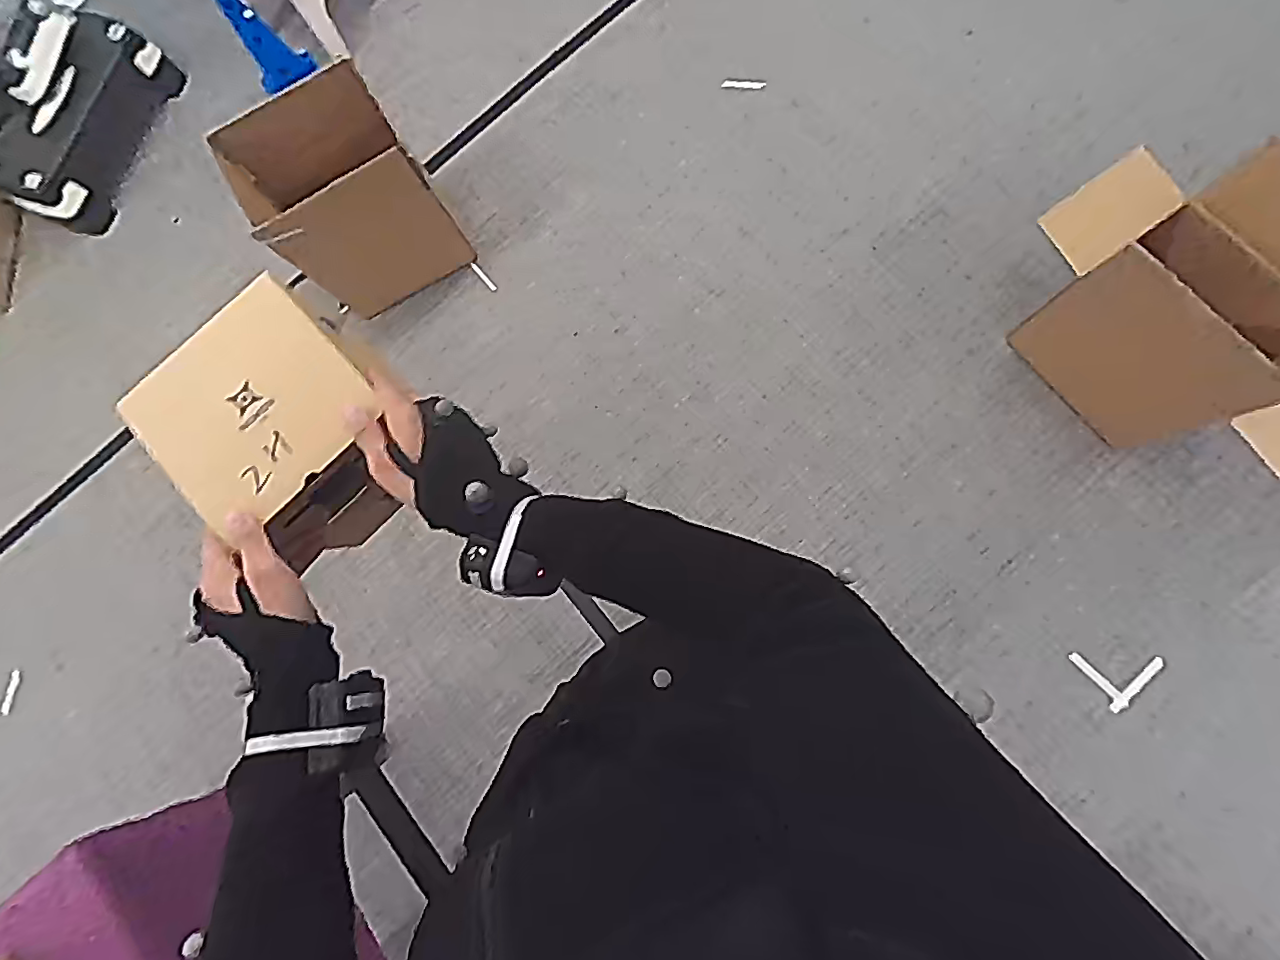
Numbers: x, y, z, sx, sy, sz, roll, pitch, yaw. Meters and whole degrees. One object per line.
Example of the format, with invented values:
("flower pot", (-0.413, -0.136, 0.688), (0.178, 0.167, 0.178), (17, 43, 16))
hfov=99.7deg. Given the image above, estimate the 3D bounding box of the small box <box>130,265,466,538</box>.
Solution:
("small box", (-0.303, -0.059, 0.522), (0.168, 0.176, 0.179), (-43, 87, -3))
